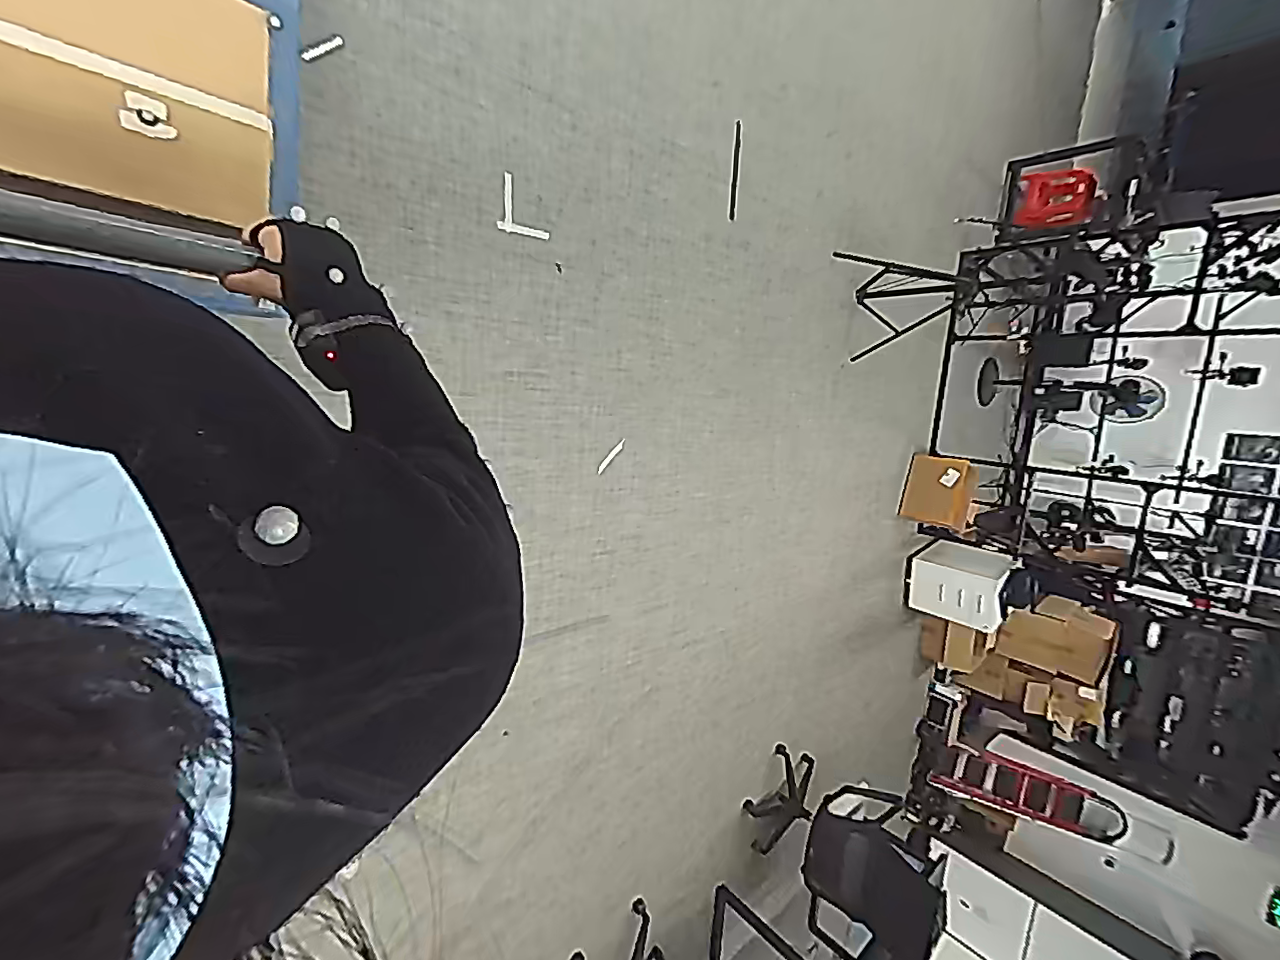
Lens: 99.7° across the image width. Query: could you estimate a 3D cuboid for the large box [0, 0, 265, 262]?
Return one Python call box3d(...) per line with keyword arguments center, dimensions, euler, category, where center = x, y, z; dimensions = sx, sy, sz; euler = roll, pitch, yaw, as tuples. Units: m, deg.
box3d(center=(-0.807, -0.538, 0.777), dimensions=(0.408, 0.320, 0.320), euler=(-1, 101, -43), category="large box")
